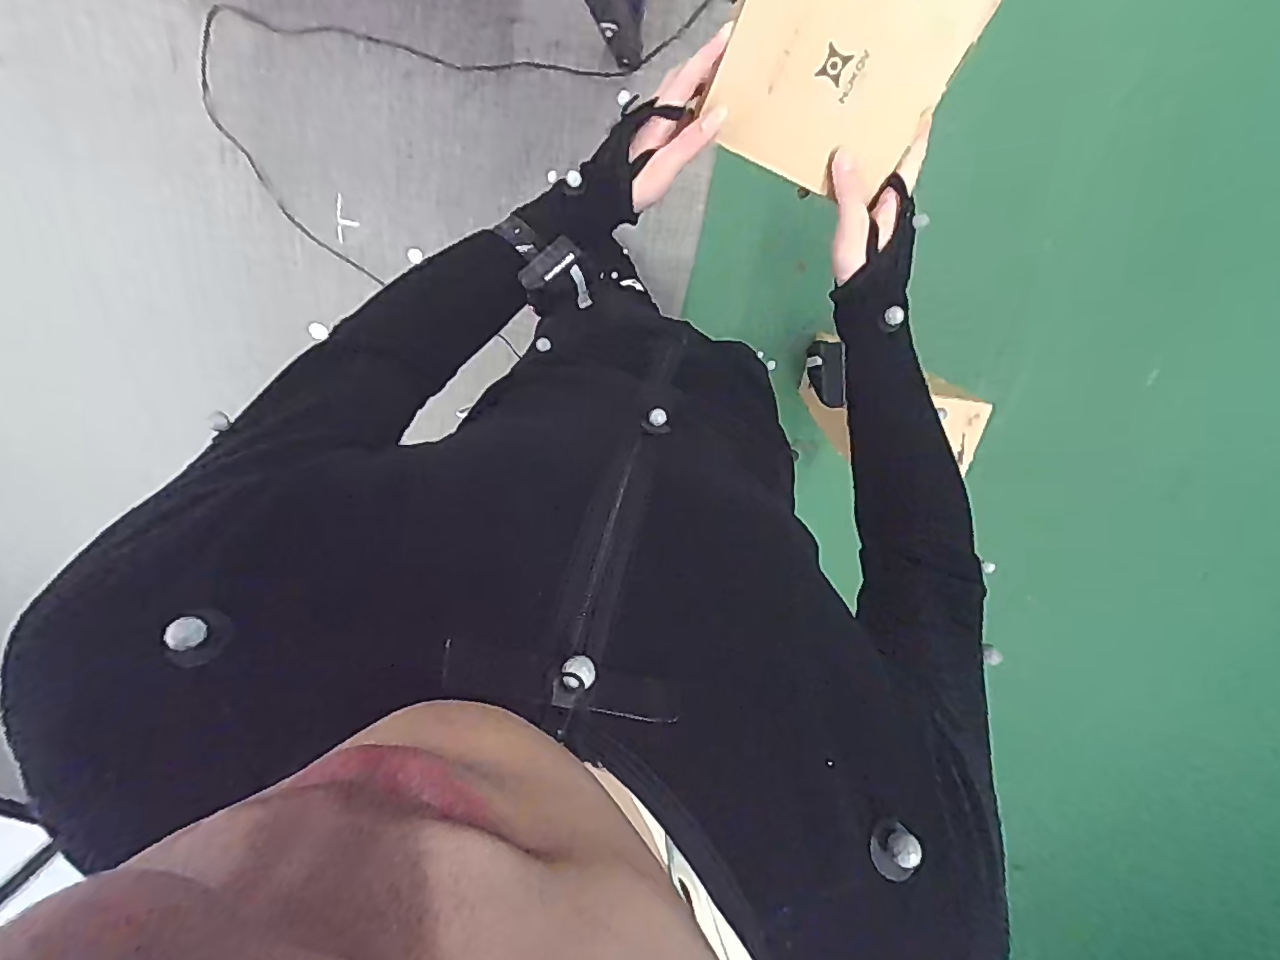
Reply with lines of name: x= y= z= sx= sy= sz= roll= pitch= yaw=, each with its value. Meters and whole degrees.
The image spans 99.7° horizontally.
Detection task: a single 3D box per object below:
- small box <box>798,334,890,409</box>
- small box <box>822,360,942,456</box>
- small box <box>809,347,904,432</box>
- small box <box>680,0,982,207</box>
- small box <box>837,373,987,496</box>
small box: x=0.530 y=-0.276 z=1.436 sx=0.168 sy=0.176 sz=0.179 roll=13 pitch=113 yaw=2
small box: x=0.495 y=-0.147 z=1.138 sx=0.168 sy=0.176 sz=0.179 roll=9 pitch=114 yaw=4
small box: x=0.512 y=-0.207 z=1.290 sx=0.168 sy=0.176 sz=0.179 roll=11 pitch=113 yaw=3
small box: x=0.147 y=-0.378 z=0.482 sx=0.179 sy=0.176 sz=0.168 roll=19 pitch=127 yaw=-11
small box: x=0.478 y=-0.091 z=0.985 sx=0.179 sy=0.176 sz=0.168 roll=11 pitch=113 yaw=4
